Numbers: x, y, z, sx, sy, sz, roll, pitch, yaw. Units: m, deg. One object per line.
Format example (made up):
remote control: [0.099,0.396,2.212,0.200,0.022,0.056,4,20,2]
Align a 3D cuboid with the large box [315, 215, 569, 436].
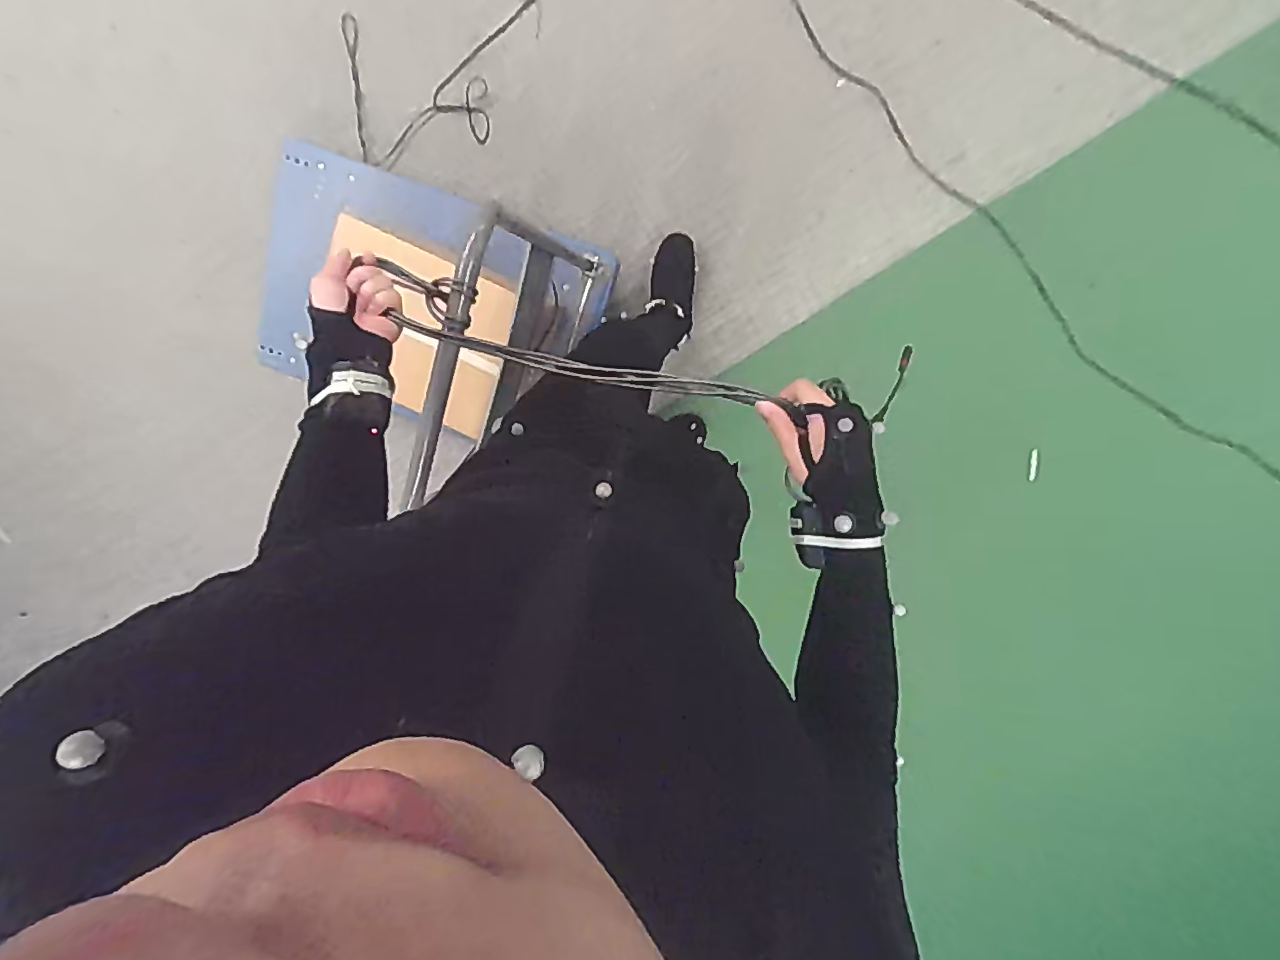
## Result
large box: [-0.425,-0.343,1.229,0.408,0.320,0.320,25,107,0]
